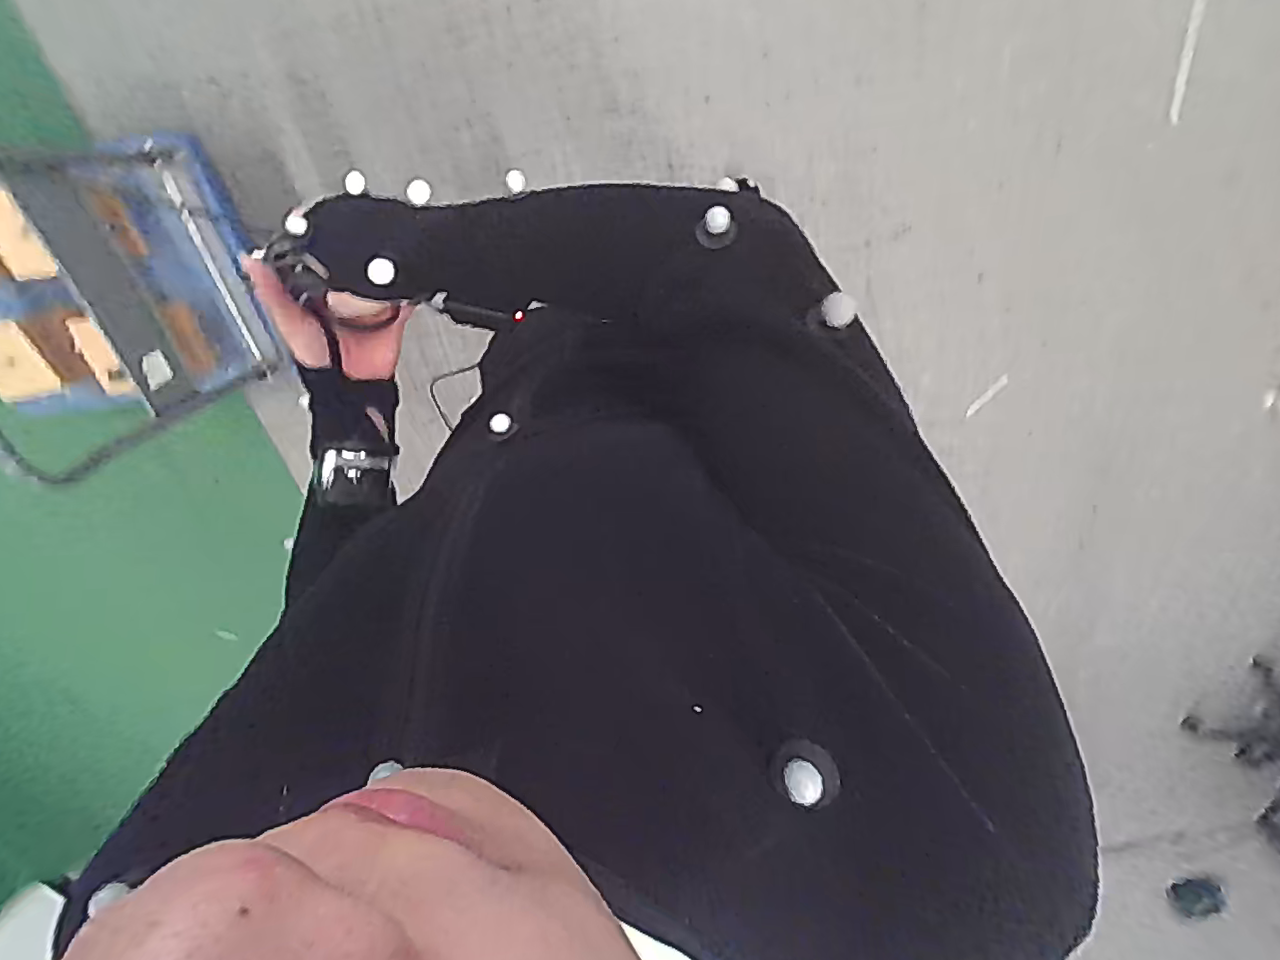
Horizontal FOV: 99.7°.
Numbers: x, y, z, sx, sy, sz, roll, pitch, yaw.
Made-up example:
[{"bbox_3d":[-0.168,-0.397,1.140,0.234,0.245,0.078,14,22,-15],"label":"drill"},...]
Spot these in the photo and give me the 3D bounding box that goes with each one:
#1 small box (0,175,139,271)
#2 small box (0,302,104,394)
[{"bbox_3d":[-1.281,-0.565,1.185,0.179,0.176,0.168,-5,121,4],"label":"small box"},{"bbox_3d":[-1.497,-0.330,1.335,0.179,0.176,0.168,-9,119,7],"label":"small box"}]
